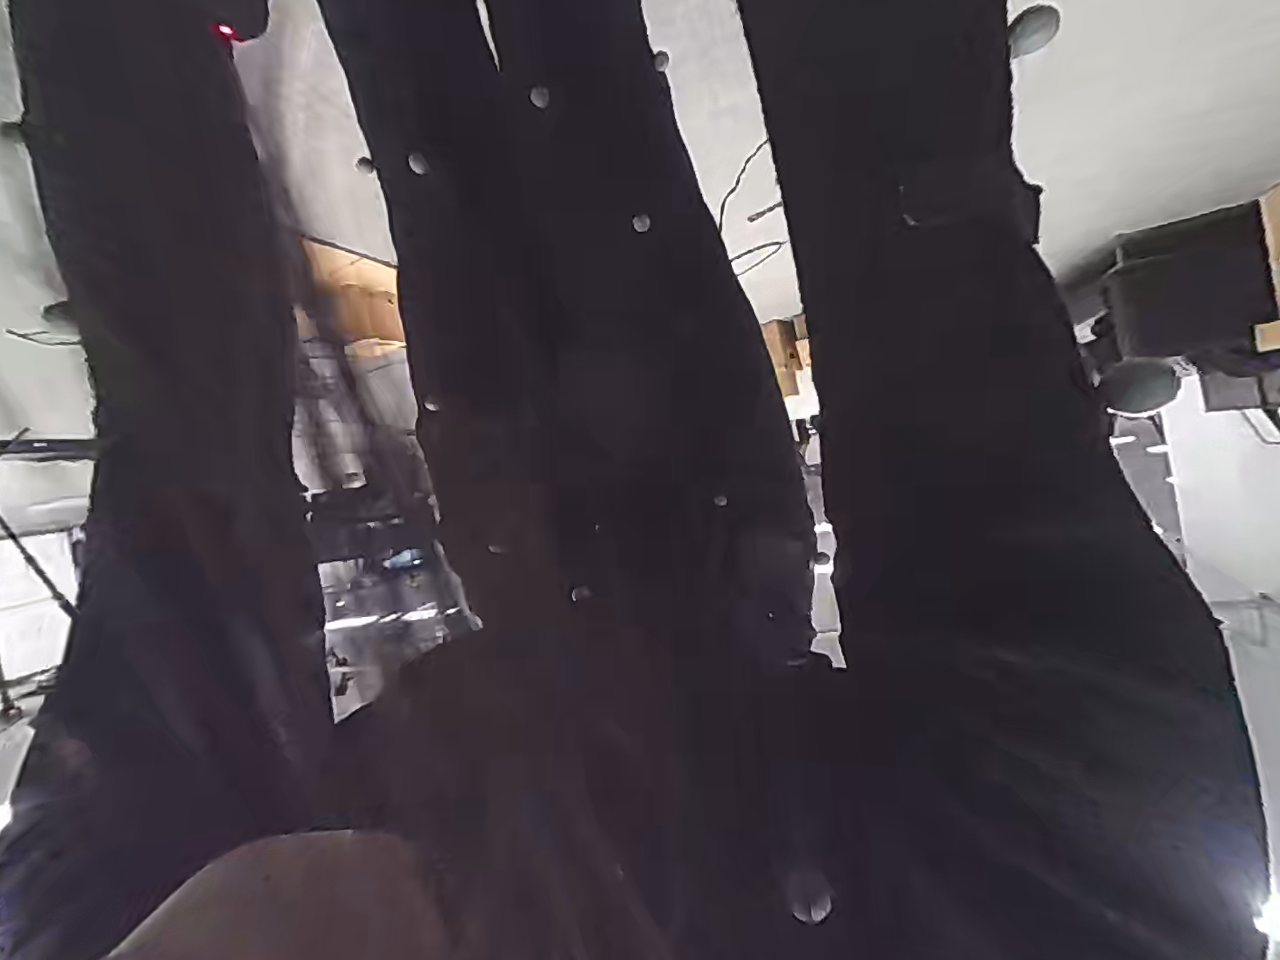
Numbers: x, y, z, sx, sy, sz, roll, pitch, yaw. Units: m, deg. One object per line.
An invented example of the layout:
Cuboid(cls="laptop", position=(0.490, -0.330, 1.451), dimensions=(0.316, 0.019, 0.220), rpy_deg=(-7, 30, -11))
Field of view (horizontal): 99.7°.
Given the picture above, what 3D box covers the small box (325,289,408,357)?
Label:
Cuboid(cls="small box", position=(-0.903, -0.513, 1.777), dimensions=(0.179, 0.176, 0.168), rpy_deg=(-10, -178, 27))
